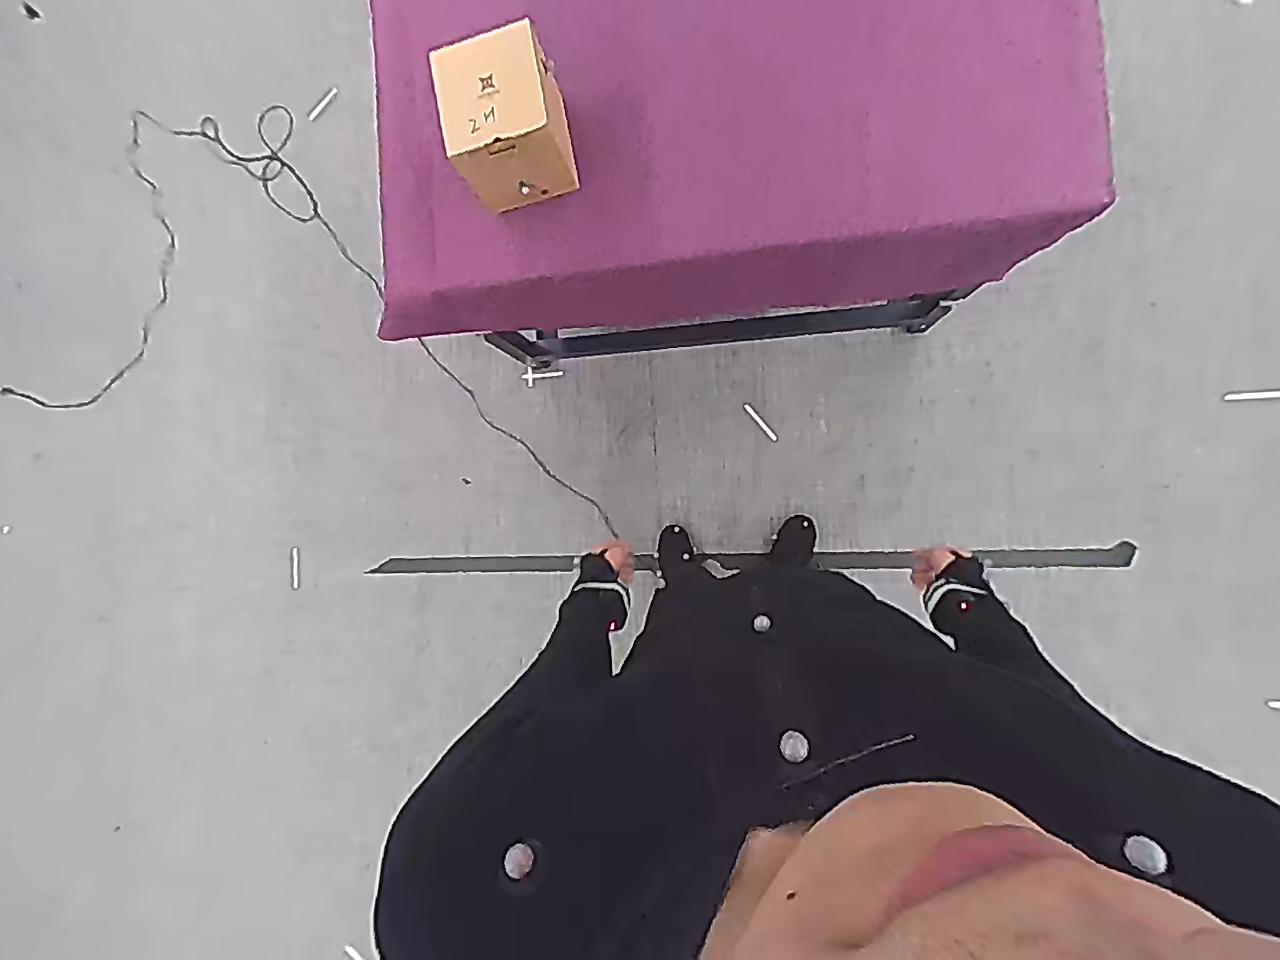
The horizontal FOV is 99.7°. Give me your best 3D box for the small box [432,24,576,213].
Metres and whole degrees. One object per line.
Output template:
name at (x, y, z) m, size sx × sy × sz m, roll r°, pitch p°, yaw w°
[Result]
small box at (-0.216, -0.585, 0.898) m, size 0.168 × 0.176 × 0.179 m, roll -11°, pitch 87°, yaw 9°
